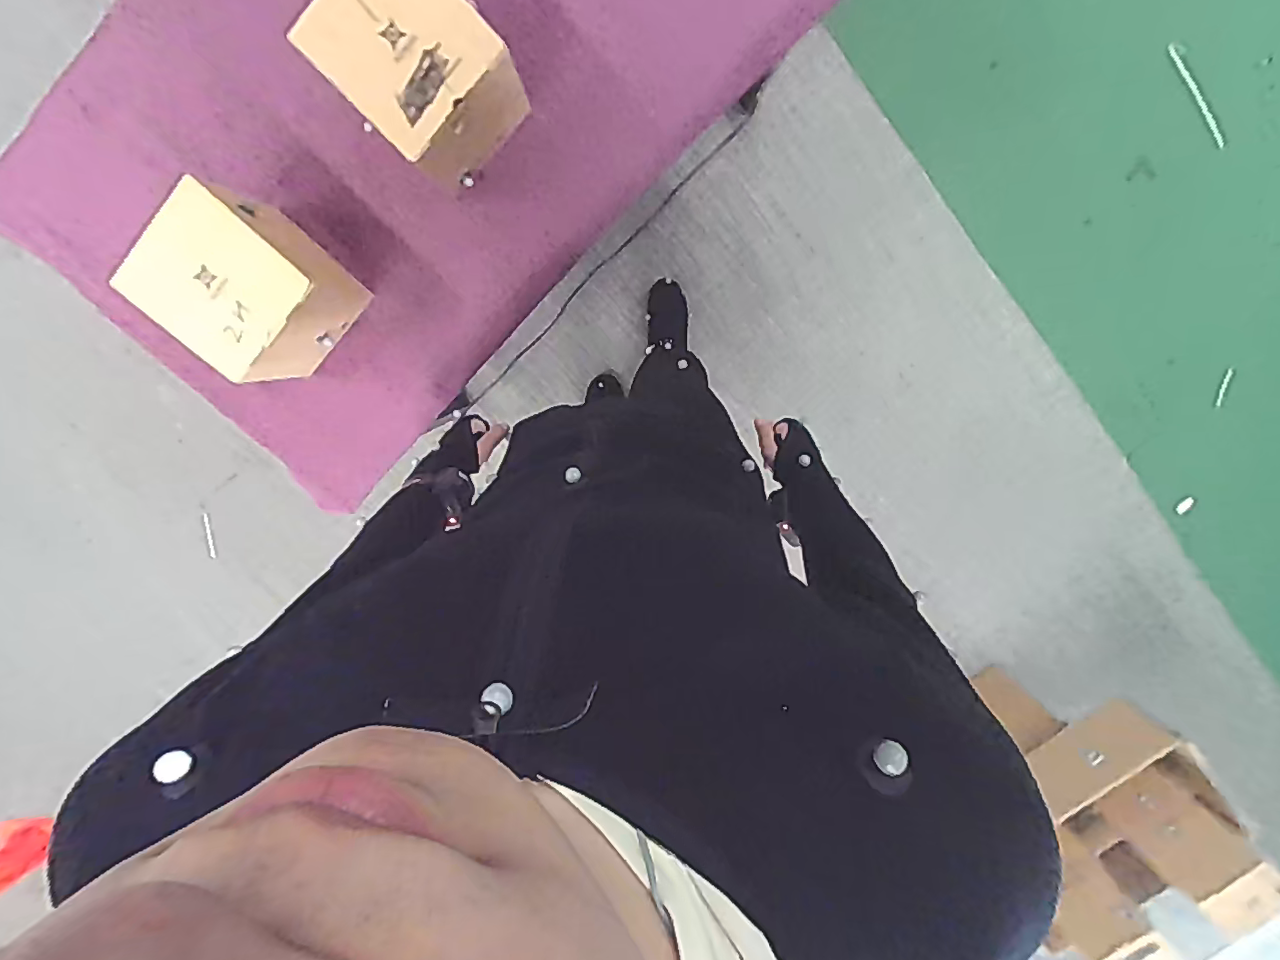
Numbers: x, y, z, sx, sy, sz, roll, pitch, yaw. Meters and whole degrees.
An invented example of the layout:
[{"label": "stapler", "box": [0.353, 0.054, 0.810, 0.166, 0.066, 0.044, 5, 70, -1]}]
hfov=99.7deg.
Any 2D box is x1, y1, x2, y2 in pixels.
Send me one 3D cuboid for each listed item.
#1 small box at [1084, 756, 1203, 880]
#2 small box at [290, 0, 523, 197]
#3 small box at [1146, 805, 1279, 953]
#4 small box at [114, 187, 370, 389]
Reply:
[{"label": "small box", "box": [1.304, 0.850, 1.376, 0.179, 0.176, 0.168, -42, 101, 9]}, {"label": "small box", "box": [-0.270, -0.486, 0.674, 0.179, 0.176, 0.168, 44, 98, -10]}, {"label": "small box", "box": [1.307, 0.889, 1.217, 0.179, 0.176, 0.168, -44, 101, 9]}, {"label": "small box", "box": [-0.510, -0.241, 0.722, 0.179, 0.176, 0.168, 42, 99, -11]}]
